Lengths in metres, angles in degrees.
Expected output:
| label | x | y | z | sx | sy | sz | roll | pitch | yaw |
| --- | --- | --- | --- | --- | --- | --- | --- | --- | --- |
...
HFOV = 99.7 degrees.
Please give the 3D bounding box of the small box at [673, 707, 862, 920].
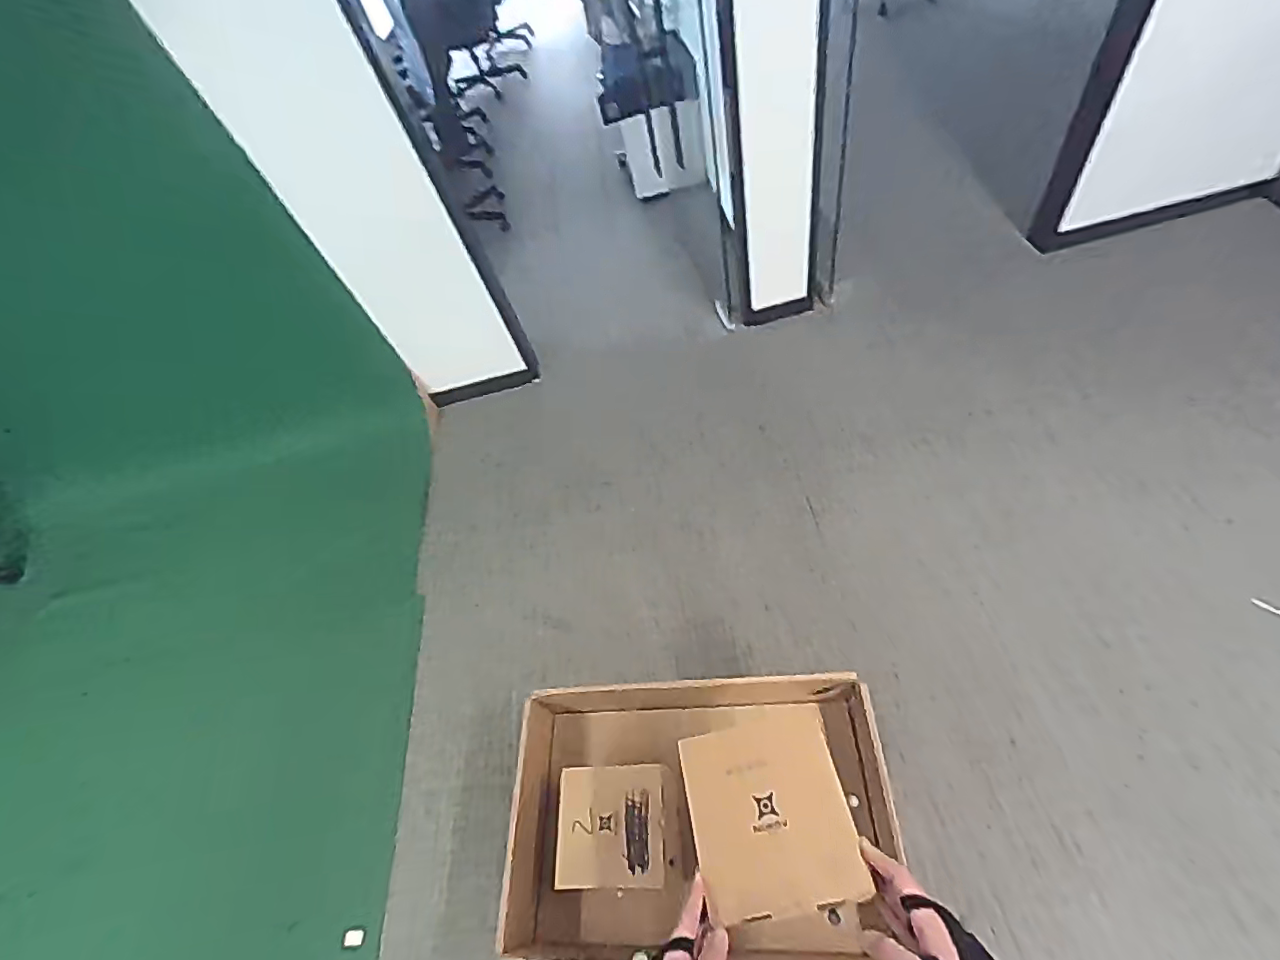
| label | x | y | z | sx | sy | sz | roll | pitch | yaw |
| --- | --- | --- | --- | --- | --- | --- | --- | --- | --- |
| small box | 0.149 | 0.394 | 0.640 | 0.168 | 0.176 | 0.179 | -16 | 51 | 7 |
